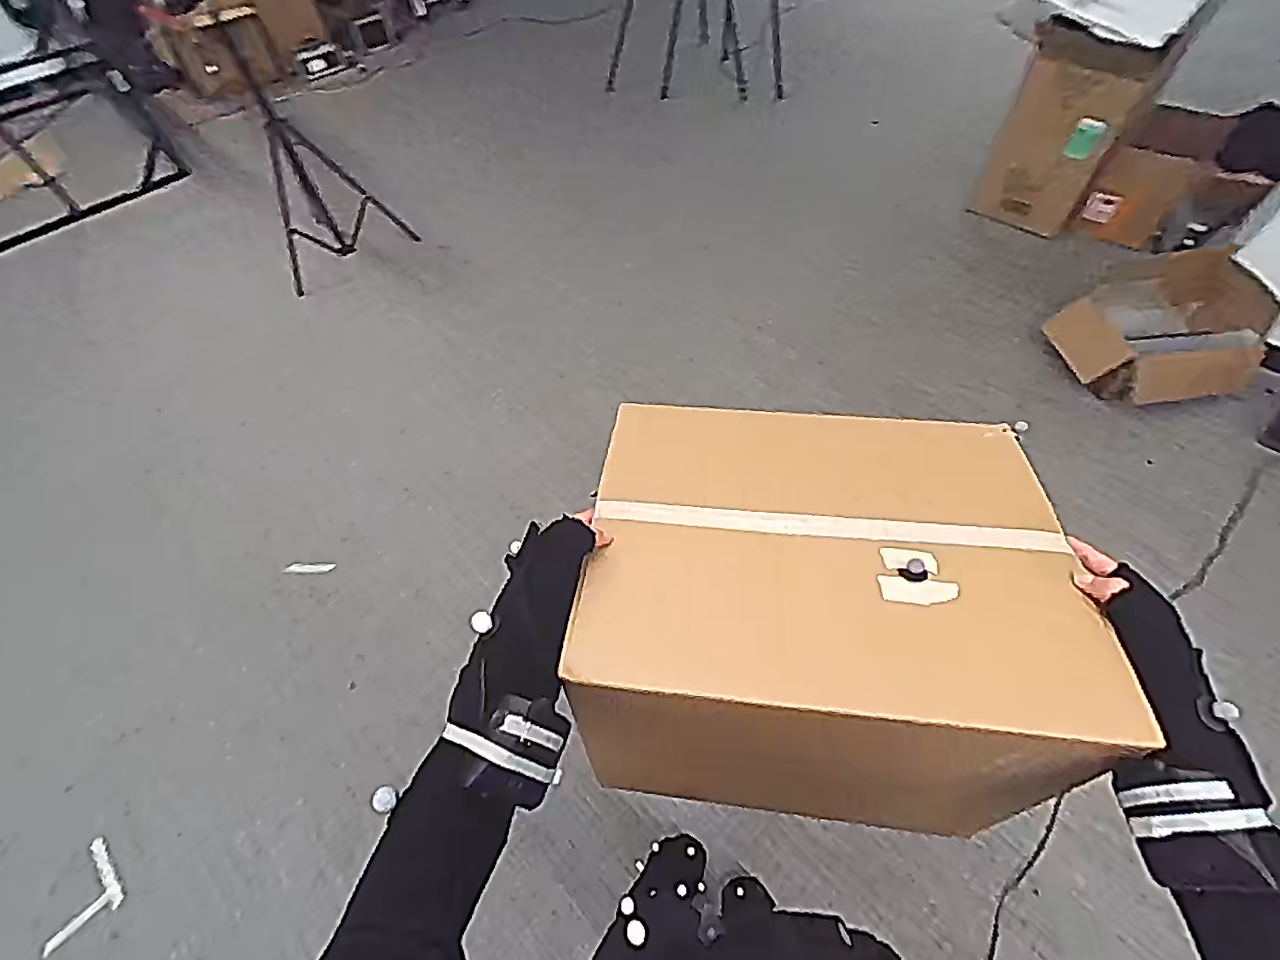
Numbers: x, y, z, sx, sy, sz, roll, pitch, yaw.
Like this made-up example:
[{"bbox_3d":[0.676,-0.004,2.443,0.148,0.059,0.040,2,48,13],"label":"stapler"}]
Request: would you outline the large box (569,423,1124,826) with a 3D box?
[{"bbox_3d":[0.159,0.157,0.599,0.408,0.320,0.320,3,48,6],"label":"large box"}]
